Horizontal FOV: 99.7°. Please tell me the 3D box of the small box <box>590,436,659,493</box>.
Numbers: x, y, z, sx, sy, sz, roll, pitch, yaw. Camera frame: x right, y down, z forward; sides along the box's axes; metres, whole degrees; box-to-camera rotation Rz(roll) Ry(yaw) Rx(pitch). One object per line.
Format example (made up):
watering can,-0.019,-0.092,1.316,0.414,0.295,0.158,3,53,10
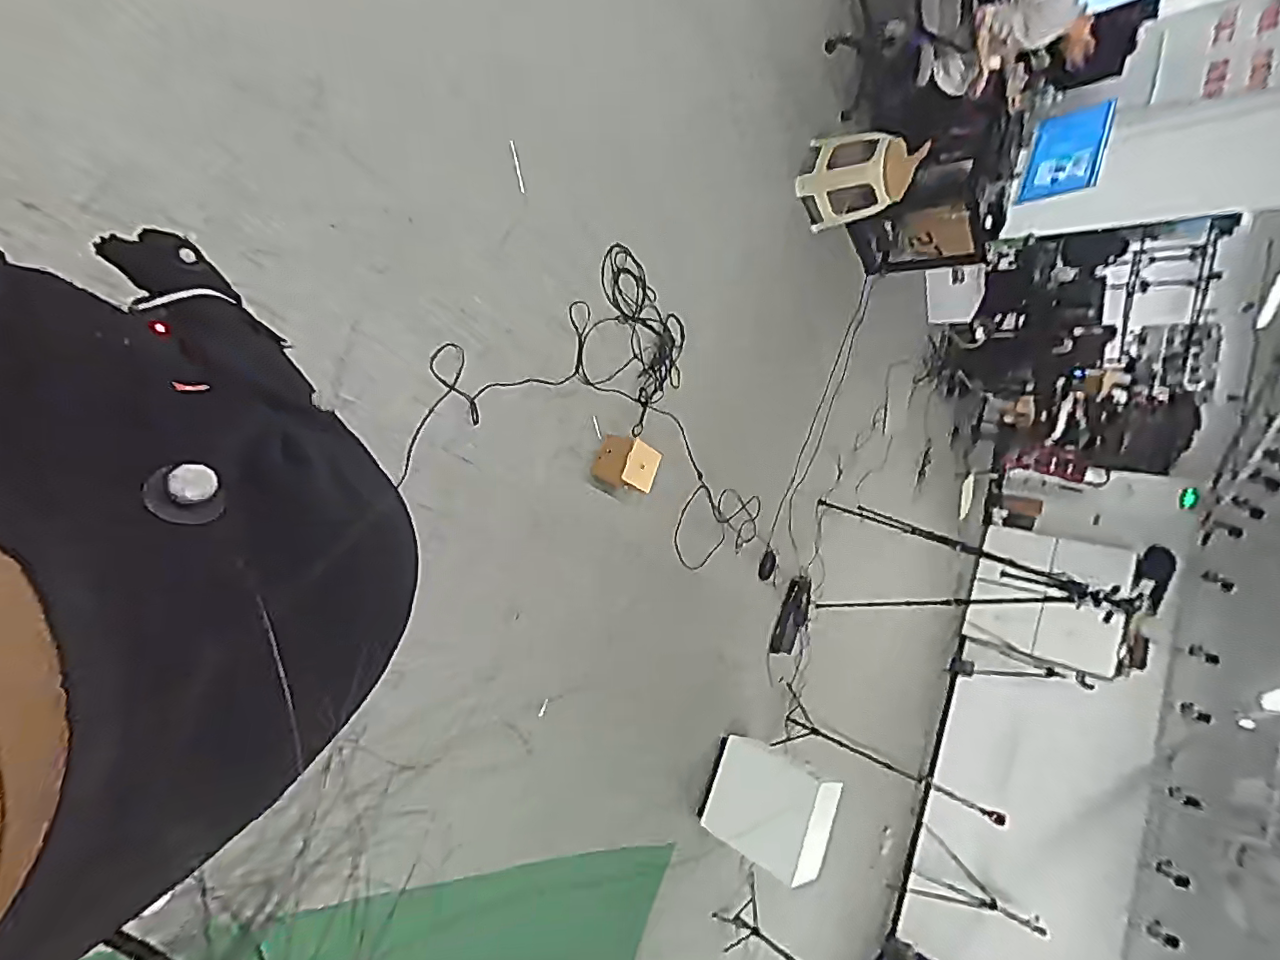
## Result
small box,-0.059,-0.064,2.098,0.179,0.176,0.168,31,75,-47
